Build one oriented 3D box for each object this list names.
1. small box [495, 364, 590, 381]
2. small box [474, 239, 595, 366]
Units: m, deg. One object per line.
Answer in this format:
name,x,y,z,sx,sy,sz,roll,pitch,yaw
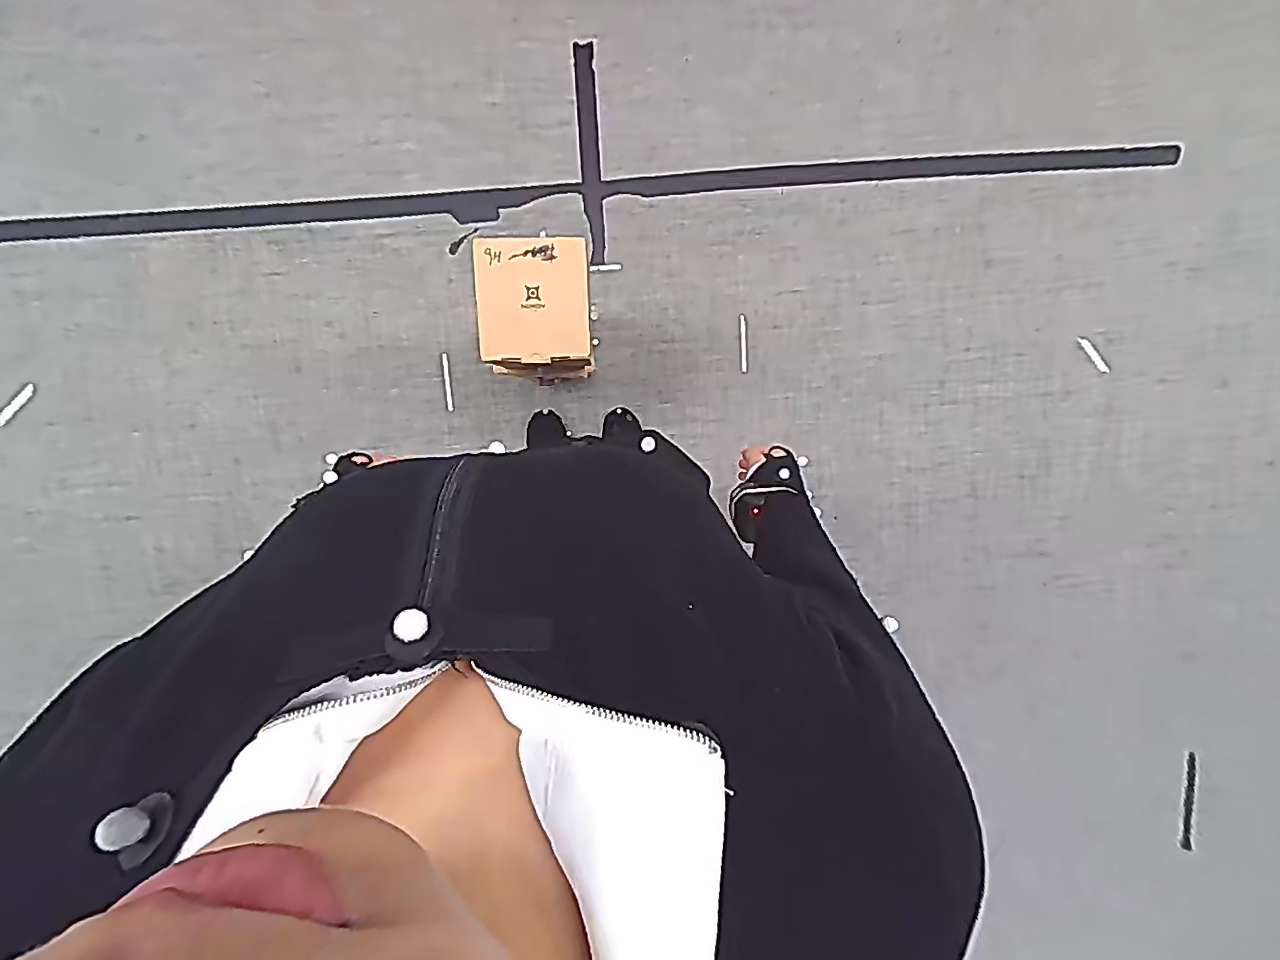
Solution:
small box,-0.179,-0.283,1.031,0.168,0.176,0.179,1,100,-3
small box,-0.159,-0.274,0.868,0.168,0.176,0.179,-2,99,-3
